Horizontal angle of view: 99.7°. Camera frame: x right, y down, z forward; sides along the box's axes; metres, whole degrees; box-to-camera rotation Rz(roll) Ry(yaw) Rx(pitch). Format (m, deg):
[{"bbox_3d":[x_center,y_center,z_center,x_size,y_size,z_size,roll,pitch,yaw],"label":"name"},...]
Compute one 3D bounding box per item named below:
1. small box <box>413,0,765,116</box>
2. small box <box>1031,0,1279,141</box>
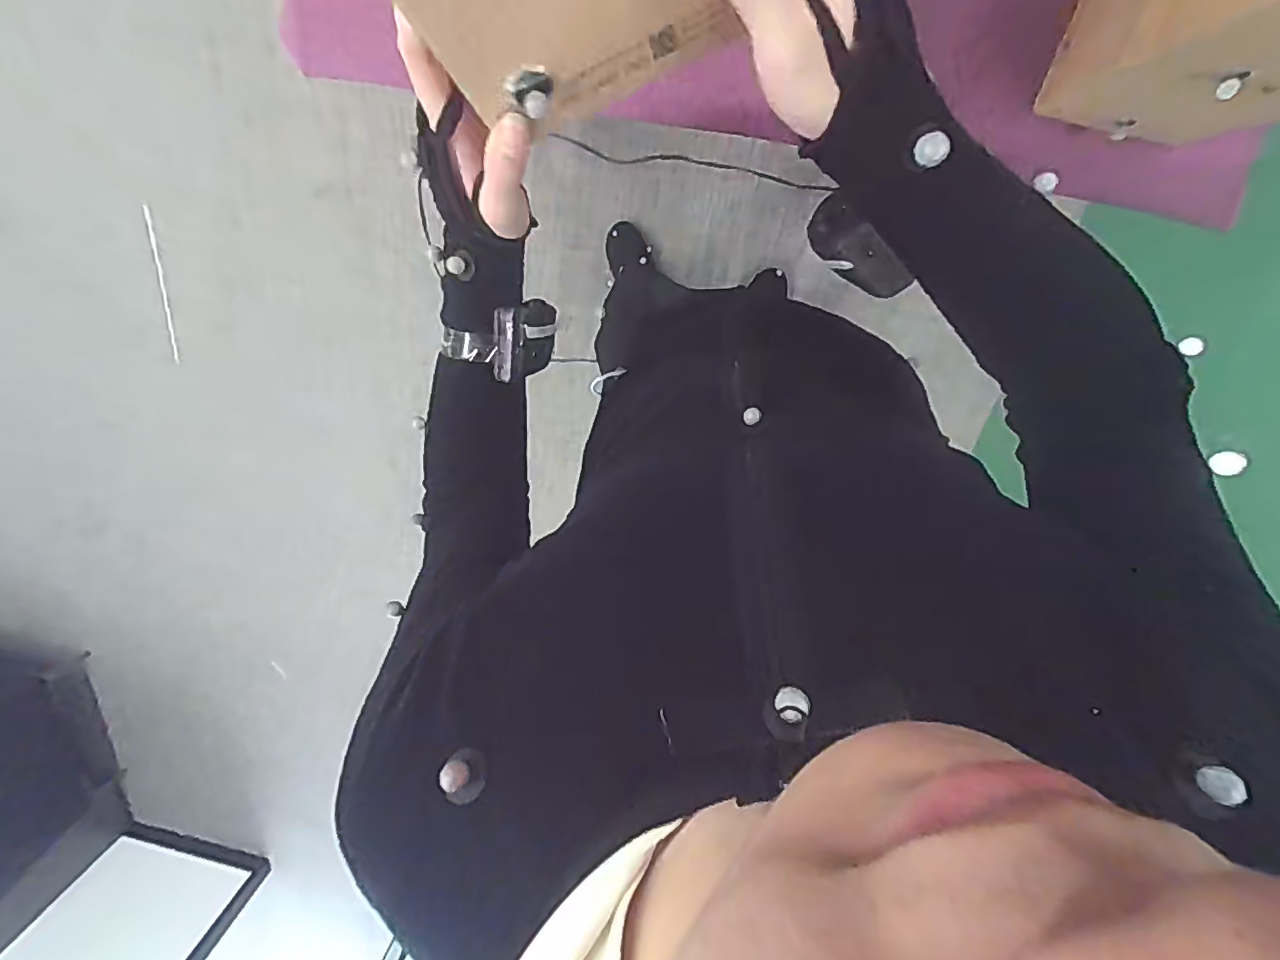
[{"bbox_3d":[-0.045,-0.310,0.241,0.168,0.176,0.179,-19,79,12],"label":"small box"},{"bbox_3d":[0.548,-0.456,0.534,0.179,0.176,0.168,16,113,3],"label":"small box"}]
